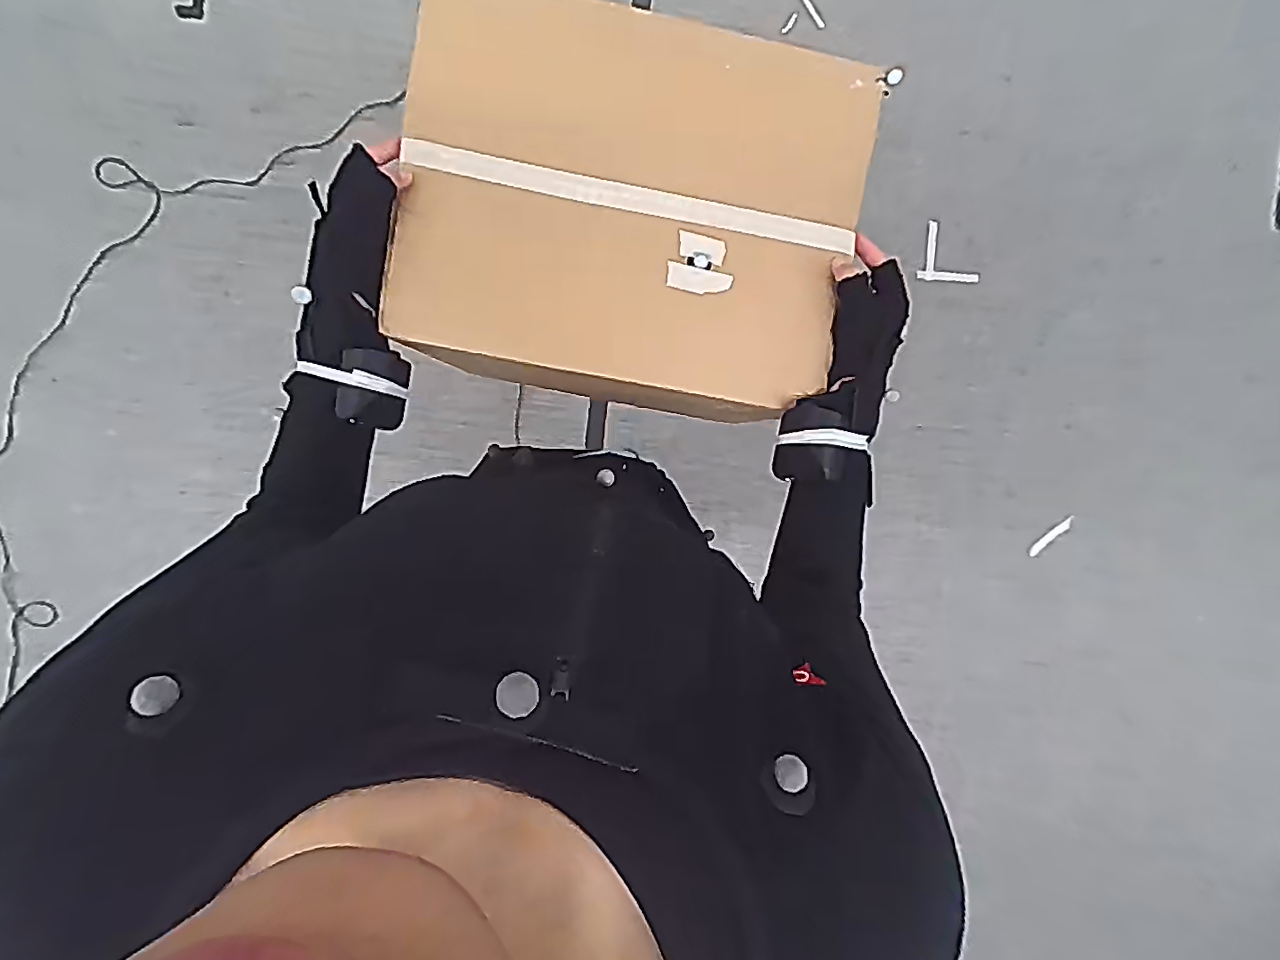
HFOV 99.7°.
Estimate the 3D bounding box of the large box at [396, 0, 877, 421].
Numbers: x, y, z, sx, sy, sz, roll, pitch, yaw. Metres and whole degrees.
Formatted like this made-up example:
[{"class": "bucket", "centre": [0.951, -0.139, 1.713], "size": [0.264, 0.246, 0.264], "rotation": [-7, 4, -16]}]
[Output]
[{"class": "large box", "centre": [-0.014, -0.256, 0.636], "size": [0.408, 0.320, 0.320], "rotation": [10, 95, -5]}]
